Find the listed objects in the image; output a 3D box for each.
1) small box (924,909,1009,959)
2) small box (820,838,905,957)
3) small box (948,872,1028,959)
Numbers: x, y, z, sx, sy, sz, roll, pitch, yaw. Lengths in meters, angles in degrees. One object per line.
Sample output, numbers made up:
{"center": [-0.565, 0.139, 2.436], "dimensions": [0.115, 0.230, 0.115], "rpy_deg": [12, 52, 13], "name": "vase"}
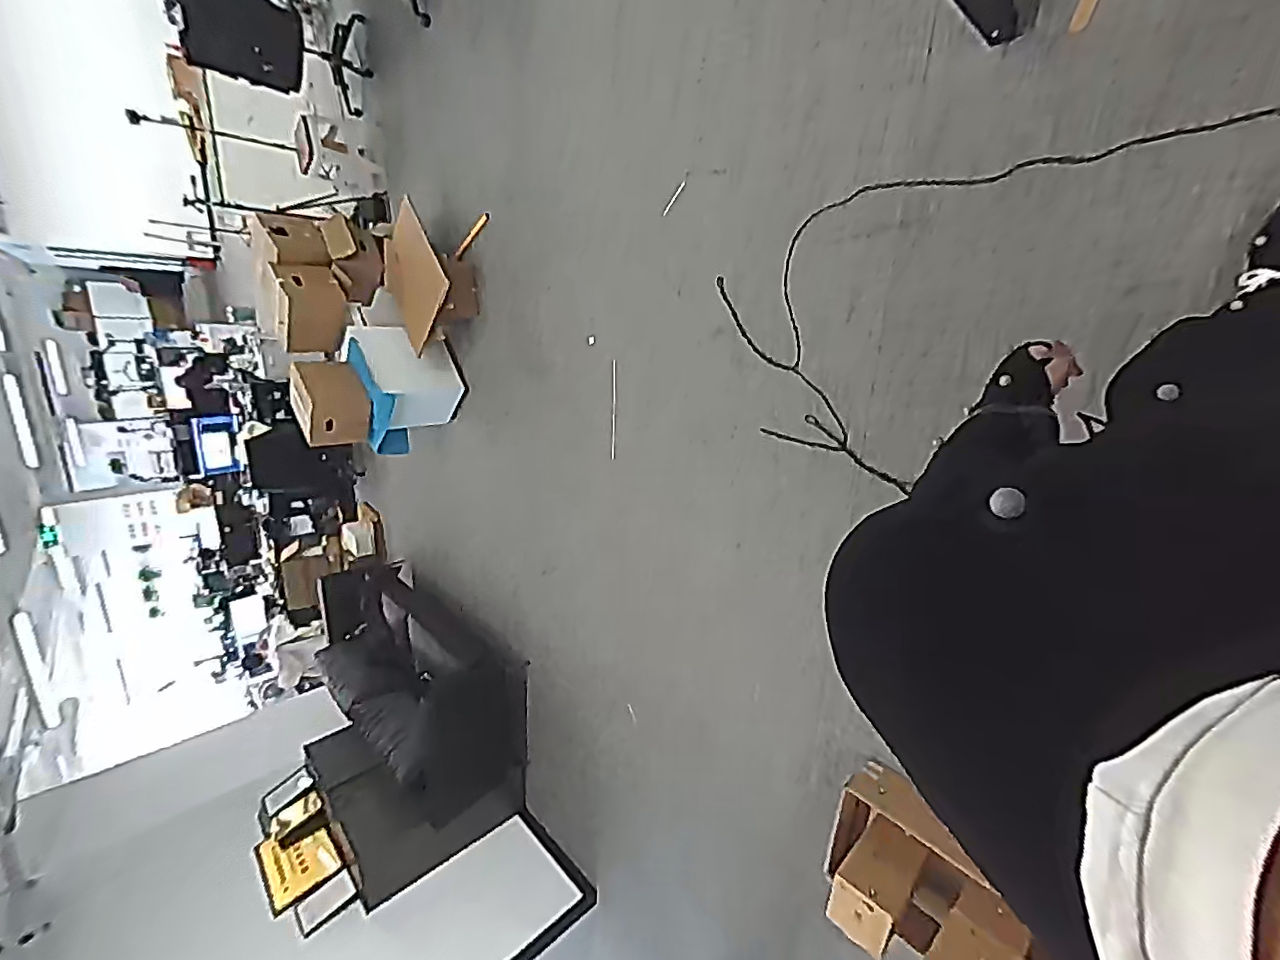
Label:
{"center": [0.838, 1.286, 1.409], "dimensions": [0.168, 0.176, 0.179], "rpy_deg": [20, 113, 44], "name": "small box"}
{"center": [0.655, 1.215, 1.586], "dimensions": [0.168, 0.176, 0.179], "rpy_deg": [20, 114, 41], "name": "small box"}
{"center": [0.958, 1.263, 1.514], "dimensions": [0.168, 0.176, 0.179], "rpy_deg": [21, 114, 43], "name": "small box"}
